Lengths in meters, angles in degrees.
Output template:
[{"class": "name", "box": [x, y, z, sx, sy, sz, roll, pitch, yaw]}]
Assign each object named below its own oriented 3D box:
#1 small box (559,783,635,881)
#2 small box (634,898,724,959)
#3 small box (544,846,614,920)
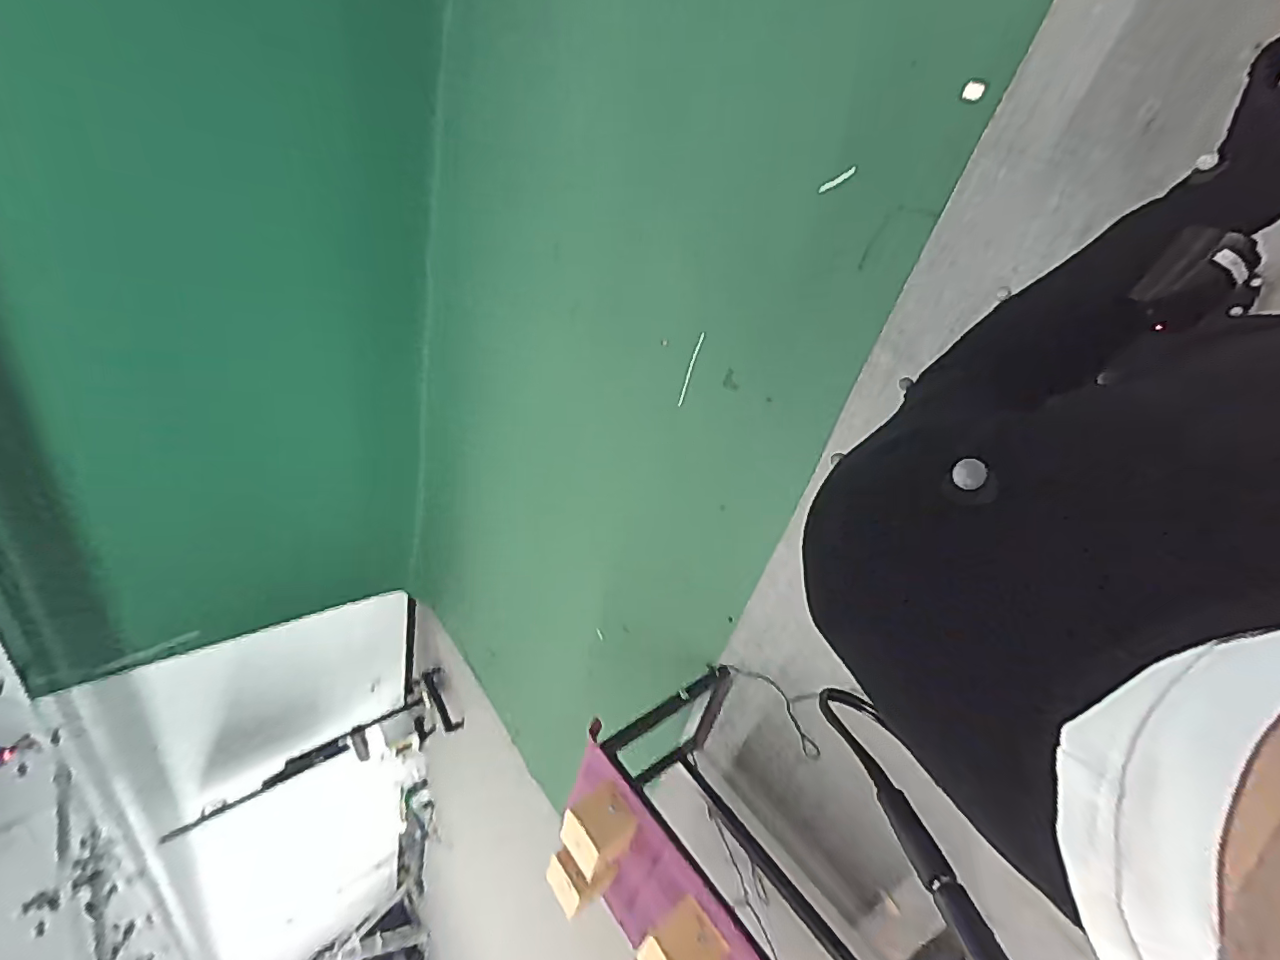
[{"class": "small box", "box": [-0.140, 1.135, 1.754, 0.168, 0.176, 0.179, 38, 126, 34]}, {"class": "small box", "box": [0.112, 1.346, 1.532, 0.168, 0.176, 0.179, 41, 129, 34]}, {"class": "small box", "box": [-0.214, 1.391, 1.912, 0.168, 0.176, 0.179, 41, 128, 34]}]
